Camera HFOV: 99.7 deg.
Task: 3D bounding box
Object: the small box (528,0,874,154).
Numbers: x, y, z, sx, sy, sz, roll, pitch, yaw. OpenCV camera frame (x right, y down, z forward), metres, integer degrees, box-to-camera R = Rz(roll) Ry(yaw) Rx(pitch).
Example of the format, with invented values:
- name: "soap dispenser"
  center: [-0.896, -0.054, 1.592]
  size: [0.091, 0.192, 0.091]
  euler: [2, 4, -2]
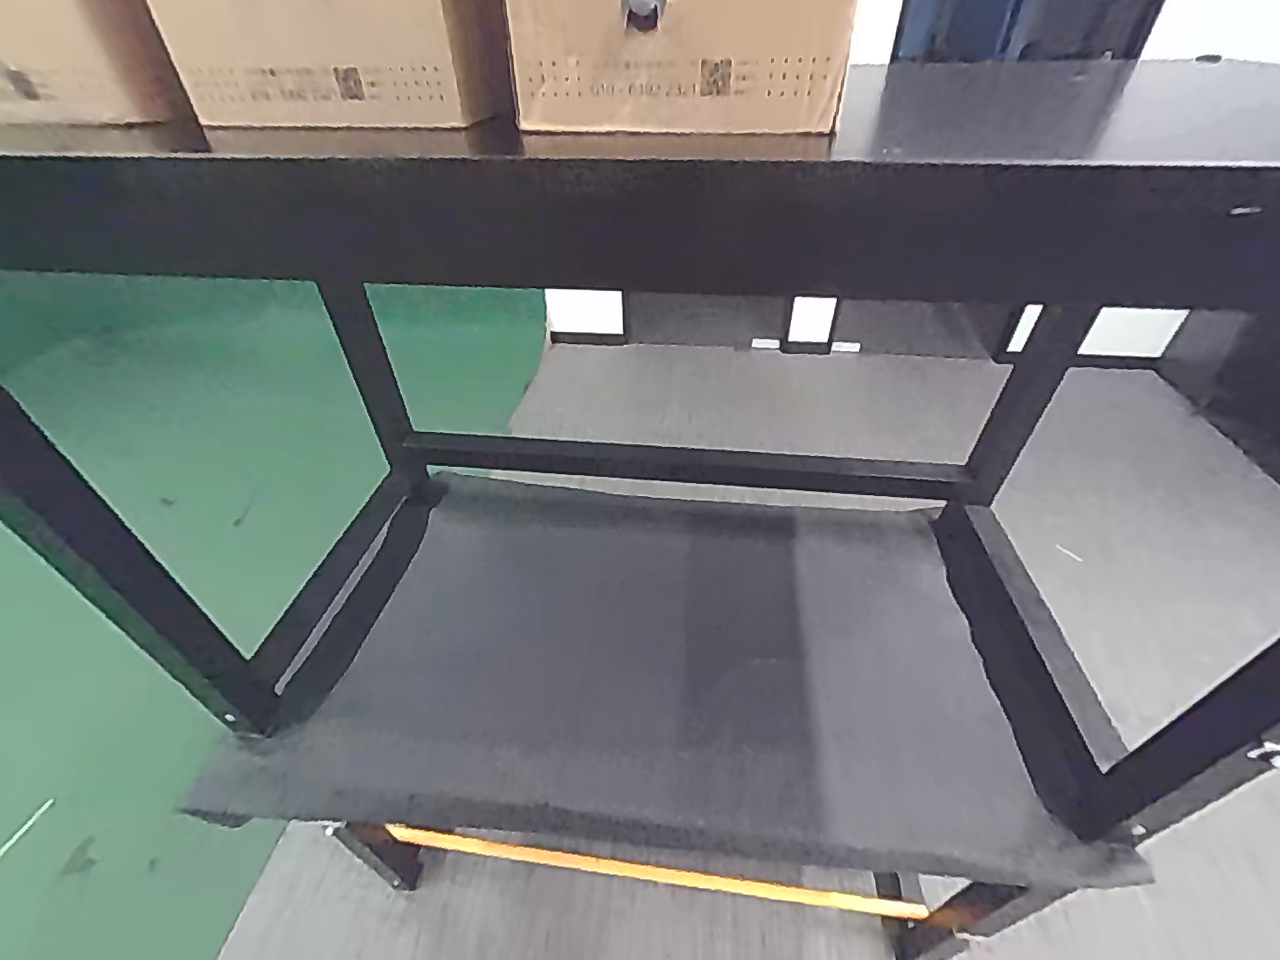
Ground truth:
- name: "small box"
  center: [0.035, -0.290, 0.291]
  size: [0.168, 0.176, 0.179]
  euler: [5, 41, 7]
